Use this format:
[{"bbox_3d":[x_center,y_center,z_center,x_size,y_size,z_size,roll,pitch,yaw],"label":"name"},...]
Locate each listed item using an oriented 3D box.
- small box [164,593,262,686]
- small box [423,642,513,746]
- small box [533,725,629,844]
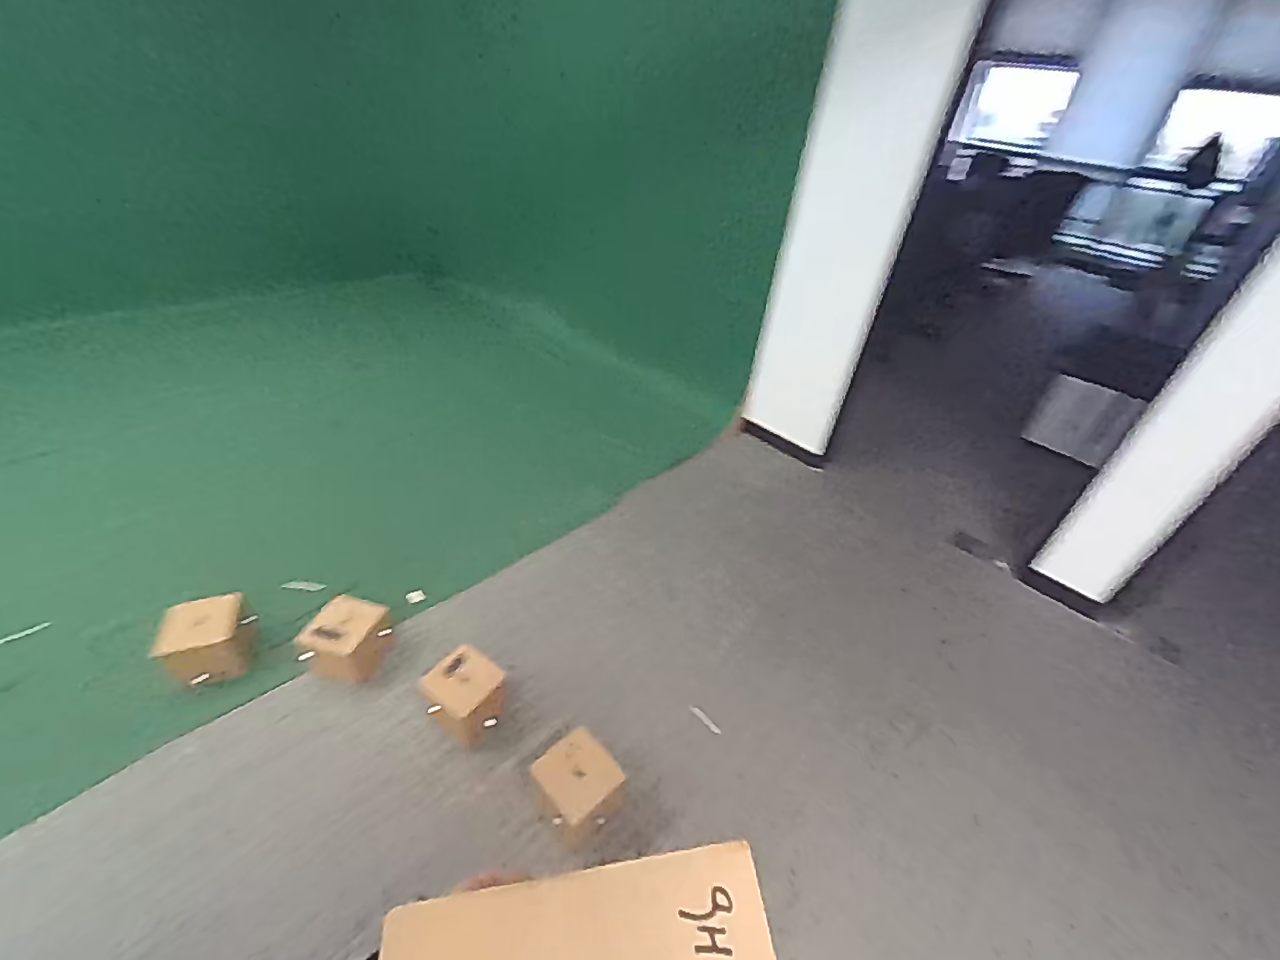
[{"bbox_3d":[-1.225,0.462,1.568,0.168,0.176,0.179,-8,39,-19],"label":"small box"},{"bbox_3d":[-0.473,0.597,1.503,0.179,0.176,0.168,27,41,23],"label":"small box"},{"bbox_3d":[-0.148,0.760,1.340,0.168,0.176,0.179,-26,48,-36],"label":"small box"}]
